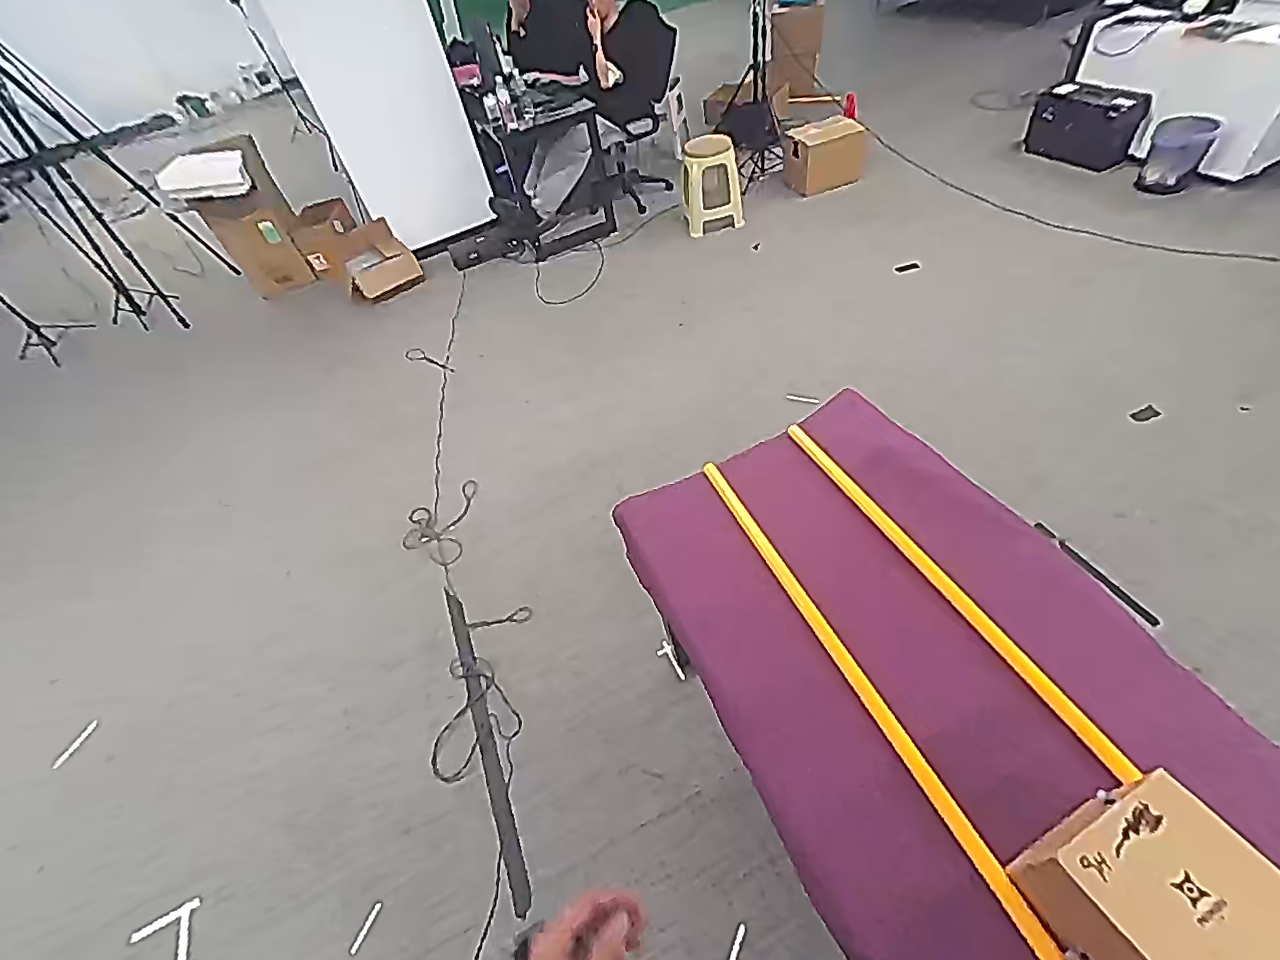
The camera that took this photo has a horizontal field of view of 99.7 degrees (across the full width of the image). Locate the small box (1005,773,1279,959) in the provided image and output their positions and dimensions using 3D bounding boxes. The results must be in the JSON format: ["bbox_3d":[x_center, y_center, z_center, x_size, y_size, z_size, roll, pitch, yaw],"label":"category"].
[{"bbox_3d":[0.543,0.452,0.574,0.168,0.176,0.179,-27,50,-11],"label":"small box"}]
